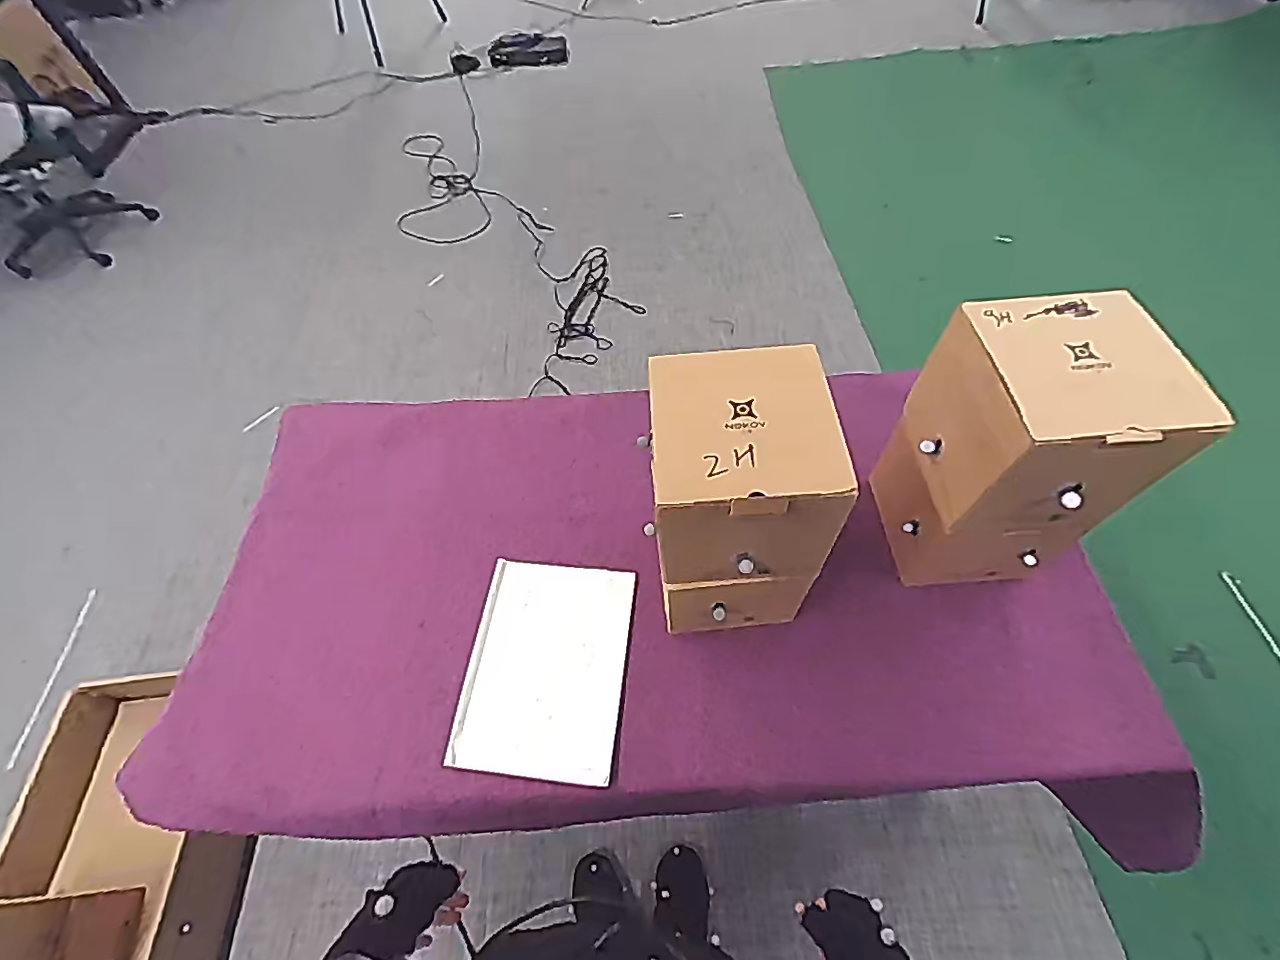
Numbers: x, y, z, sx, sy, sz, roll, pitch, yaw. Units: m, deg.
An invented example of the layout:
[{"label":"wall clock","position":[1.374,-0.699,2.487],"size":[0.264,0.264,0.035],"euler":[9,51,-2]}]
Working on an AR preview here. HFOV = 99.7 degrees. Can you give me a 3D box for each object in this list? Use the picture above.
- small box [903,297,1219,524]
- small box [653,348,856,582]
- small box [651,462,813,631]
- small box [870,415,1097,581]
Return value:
[{"label":"small box","position":[0.405,-0.062,0.565],"size":[0.168,0.176,0.179],"euler":[-3,58,1]},{"label":"small box","position":[0.098,-0.010,0.555],"size":[0.168,0.176,0.179],"euler":[-4,57,3]},{"label":"small box","position":[0.107,0.084,0.691],"size":[0.168,0.176,0.179],"euler":[-6,57,1]},{"label":"small box","position":[0.422,0.025,0.703],"size":[0.168,0.176,0.179],"euler":[-3,57,2]}]
